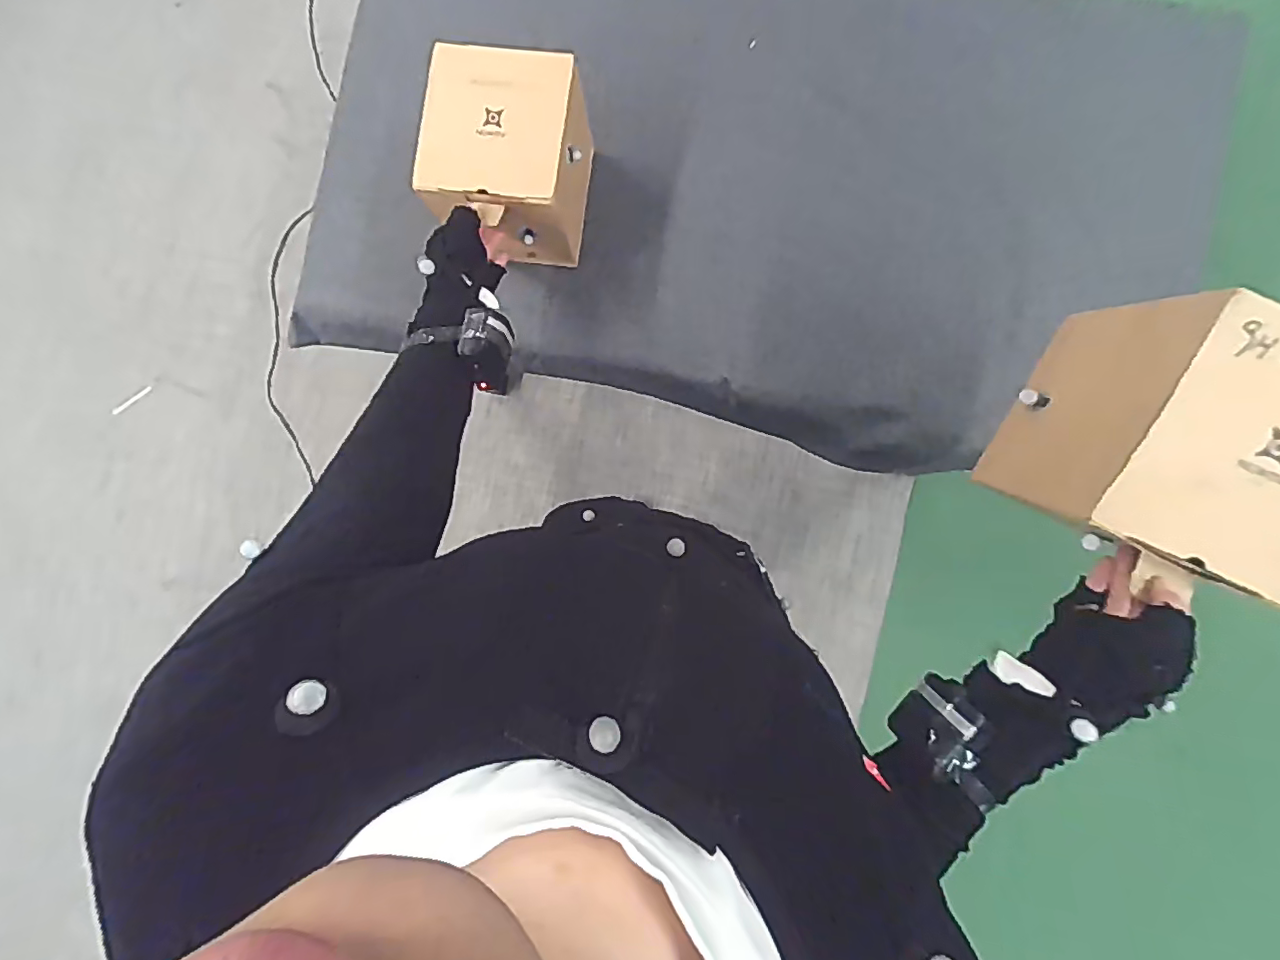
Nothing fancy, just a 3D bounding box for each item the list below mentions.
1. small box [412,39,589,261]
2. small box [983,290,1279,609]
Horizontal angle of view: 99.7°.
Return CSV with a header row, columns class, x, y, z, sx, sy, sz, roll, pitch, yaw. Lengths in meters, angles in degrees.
class,x,y,z,sx,sy,sz,roll,pitch,yaw
small box,-0.163,-0.402,0.687,0.168,0.176,0.179,7,86,2
small box,0.430,-0.031,0.448,0.168,0.176,0.179,24,103,-1
